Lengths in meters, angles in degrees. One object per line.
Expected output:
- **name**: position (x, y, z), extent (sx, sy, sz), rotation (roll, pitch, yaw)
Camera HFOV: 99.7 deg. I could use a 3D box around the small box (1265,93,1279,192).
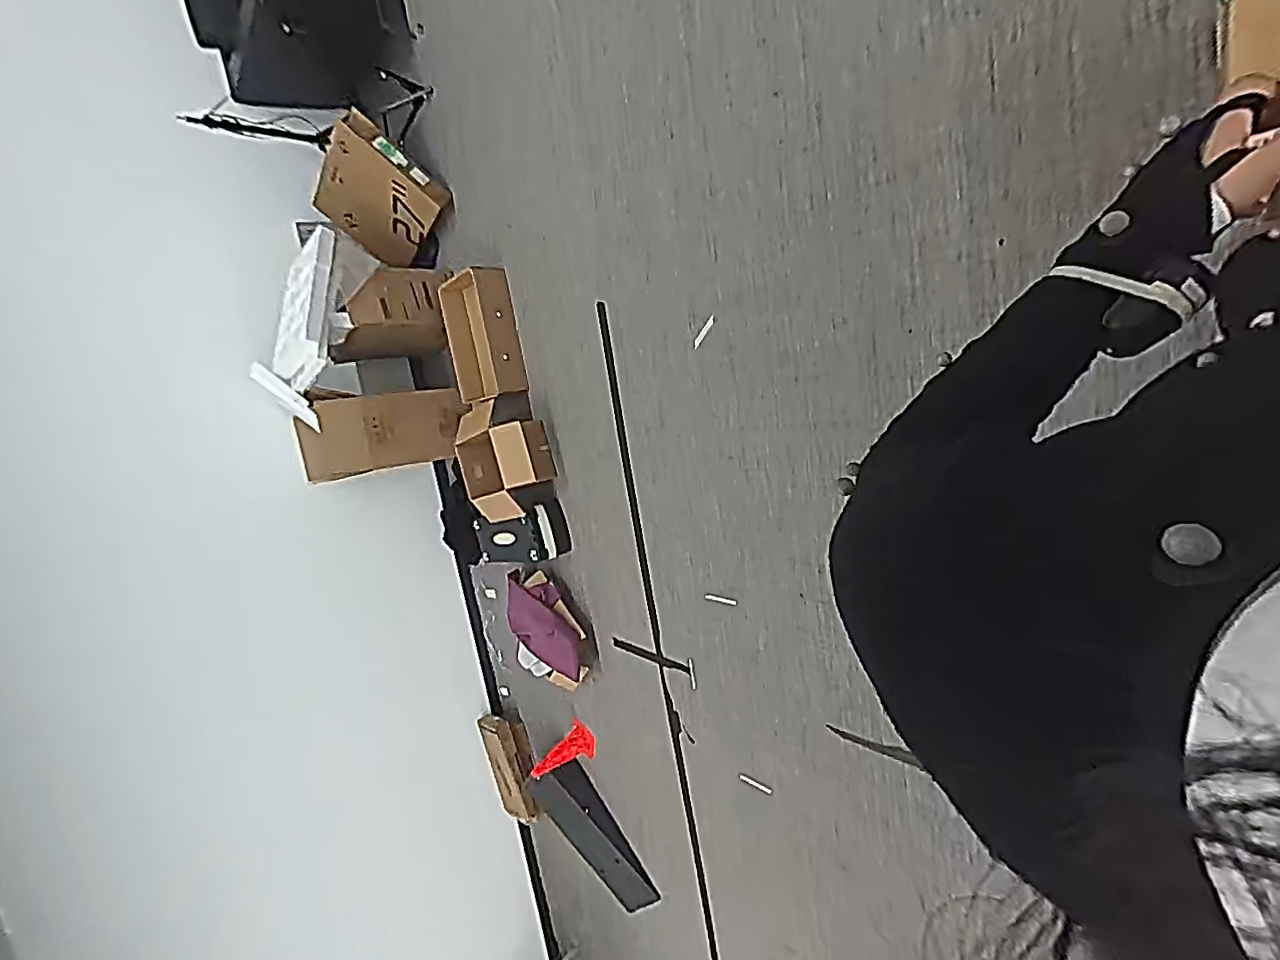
- **small box**: position (0.535, -0.294, 0.336), extent (0.168, 0.176, 0.179), rotation (11, 105, 42)
